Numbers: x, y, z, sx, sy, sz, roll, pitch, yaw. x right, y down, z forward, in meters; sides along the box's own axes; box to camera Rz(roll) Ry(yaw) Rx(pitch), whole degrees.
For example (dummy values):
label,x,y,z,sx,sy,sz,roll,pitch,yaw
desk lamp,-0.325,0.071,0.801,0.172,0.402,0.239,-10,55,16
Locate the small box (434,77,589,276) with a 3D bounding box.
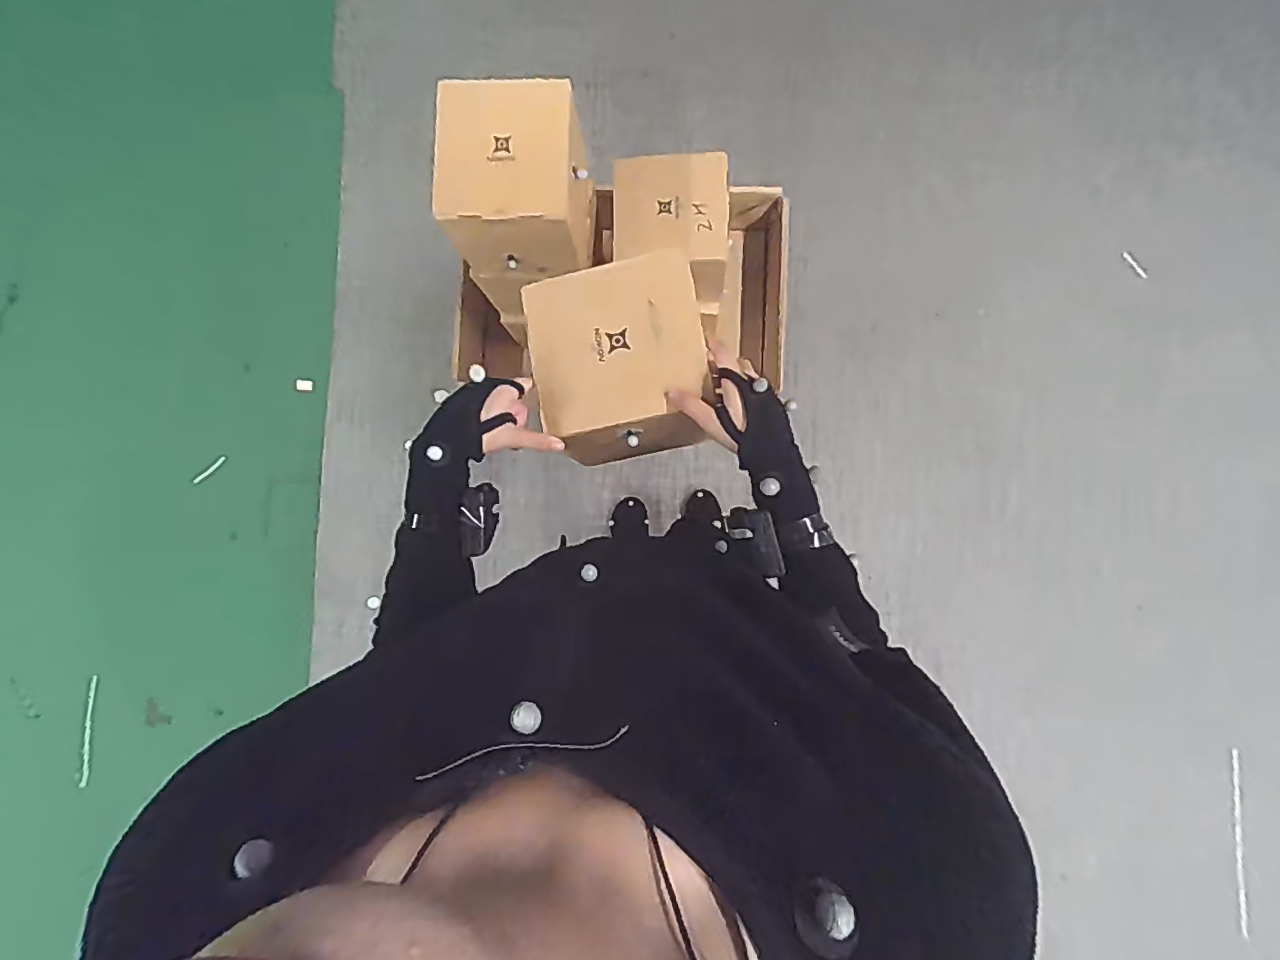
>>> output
label,x,y,z,sx,sy,sz,roll,pitch,yaw
small box,-0.162,-0.399,0.732,0.168,0.176,0.179,1,87,2
